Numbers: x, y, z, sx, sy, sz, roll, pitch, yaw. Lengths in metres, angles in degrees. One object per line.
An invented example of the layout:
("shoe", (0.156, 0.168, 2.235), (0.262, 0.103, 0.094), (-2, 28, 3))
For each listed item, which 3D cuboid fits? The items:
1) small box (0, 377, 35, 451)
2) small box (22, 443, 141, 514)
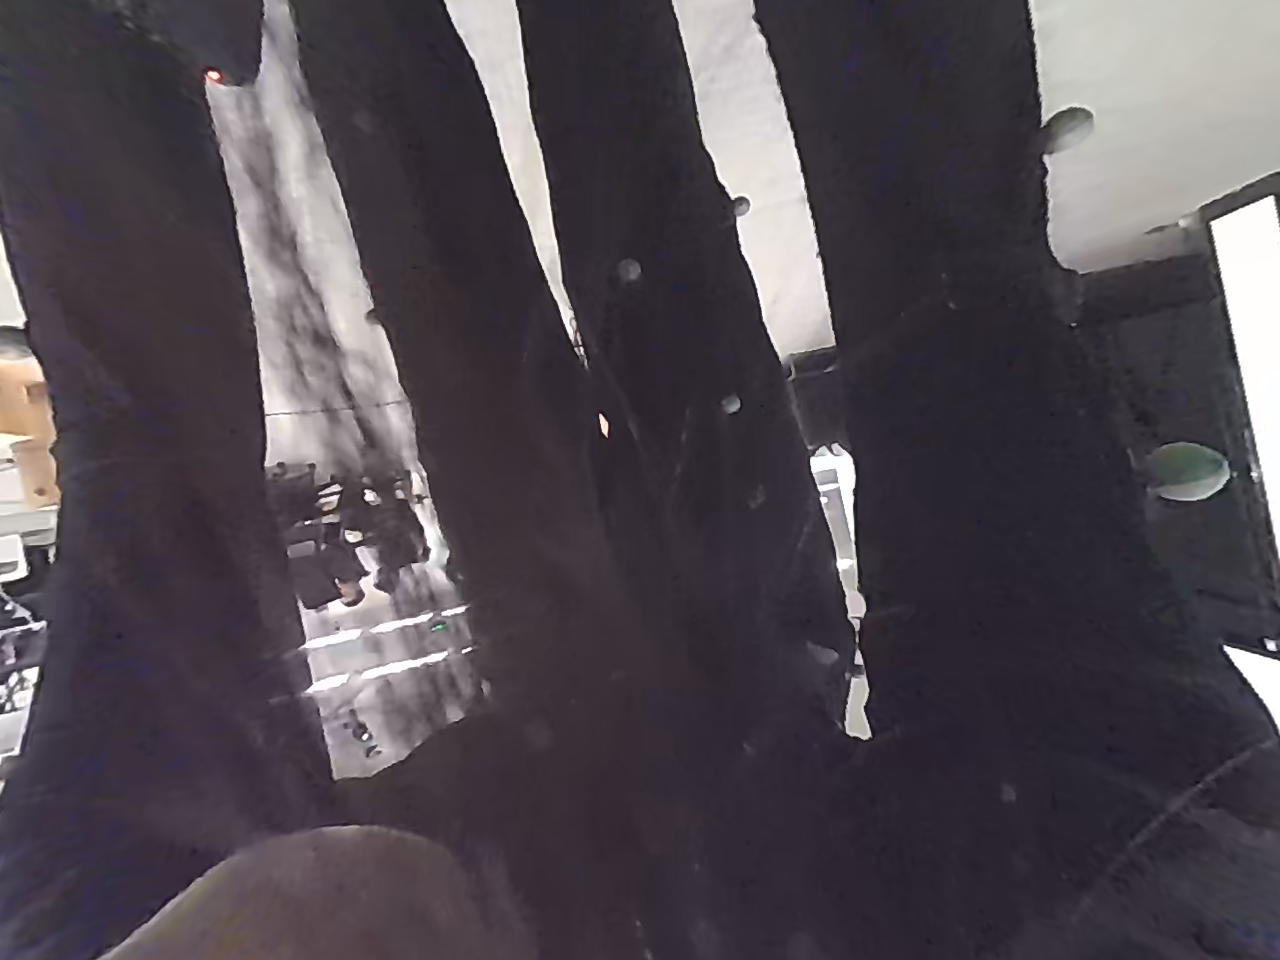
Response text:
("small box", (-1.673, -0.163, 1.329), (0.179, 0.176, 0.168), (-14, 180, 1))
("small box", (-1.629, -0.004, 1.577), (0.179, 0.176, 0.168), (-13, -178, -3))
